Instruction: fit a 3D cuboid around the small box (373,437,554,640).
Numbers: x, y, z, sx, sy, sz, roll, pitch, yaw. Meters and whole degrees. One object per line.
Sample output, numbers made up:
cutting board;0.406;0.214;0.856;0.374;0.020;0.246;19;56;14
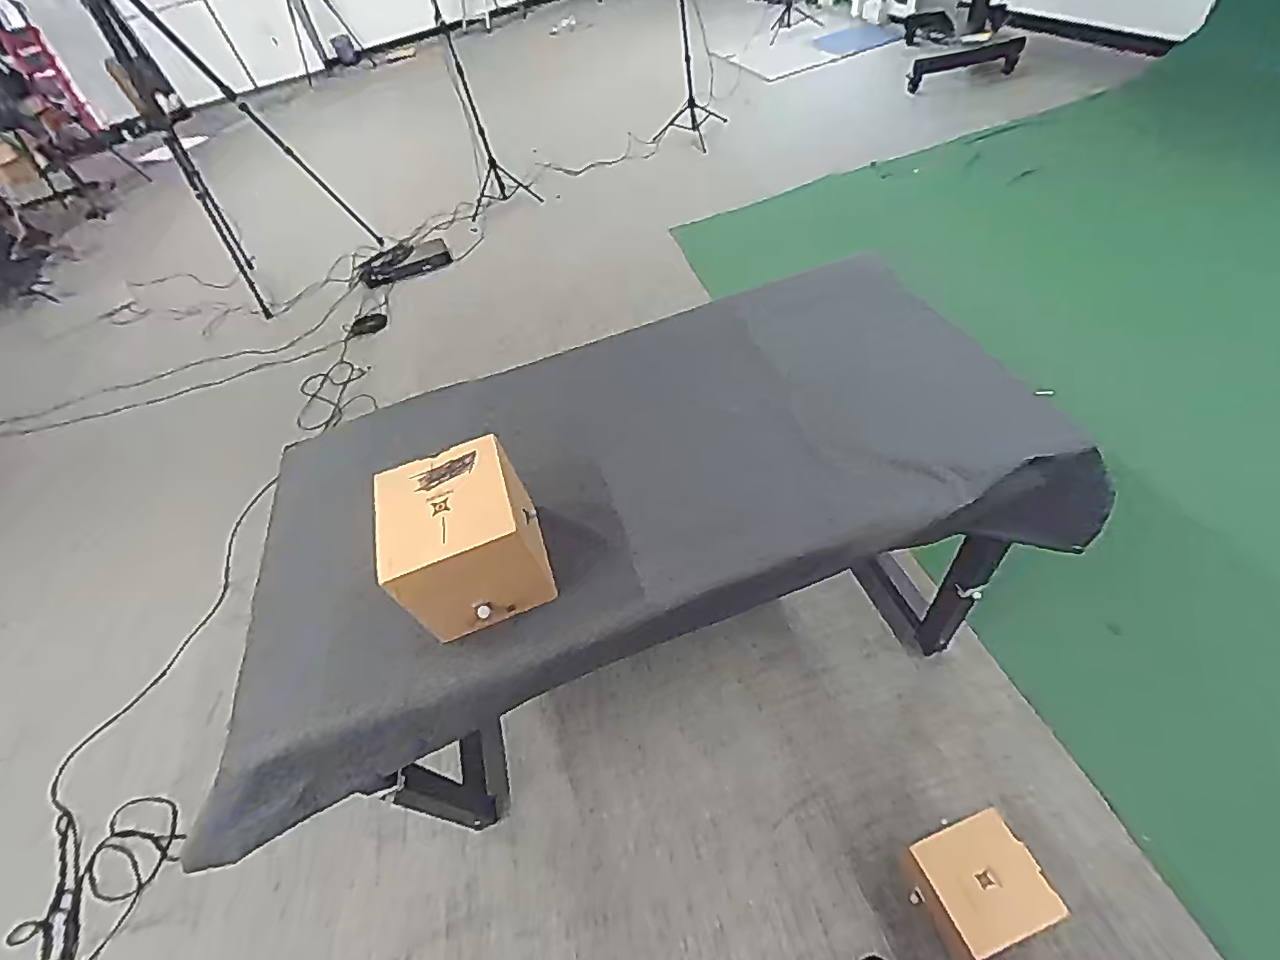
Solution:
small box;-0.229;0.079;0.715;0.168;0.176;0.179;-21;50;-5

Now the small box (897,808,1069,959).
small box;0.591;0.715;0.961;0.179;0.176;0.168;-22;49;-5
